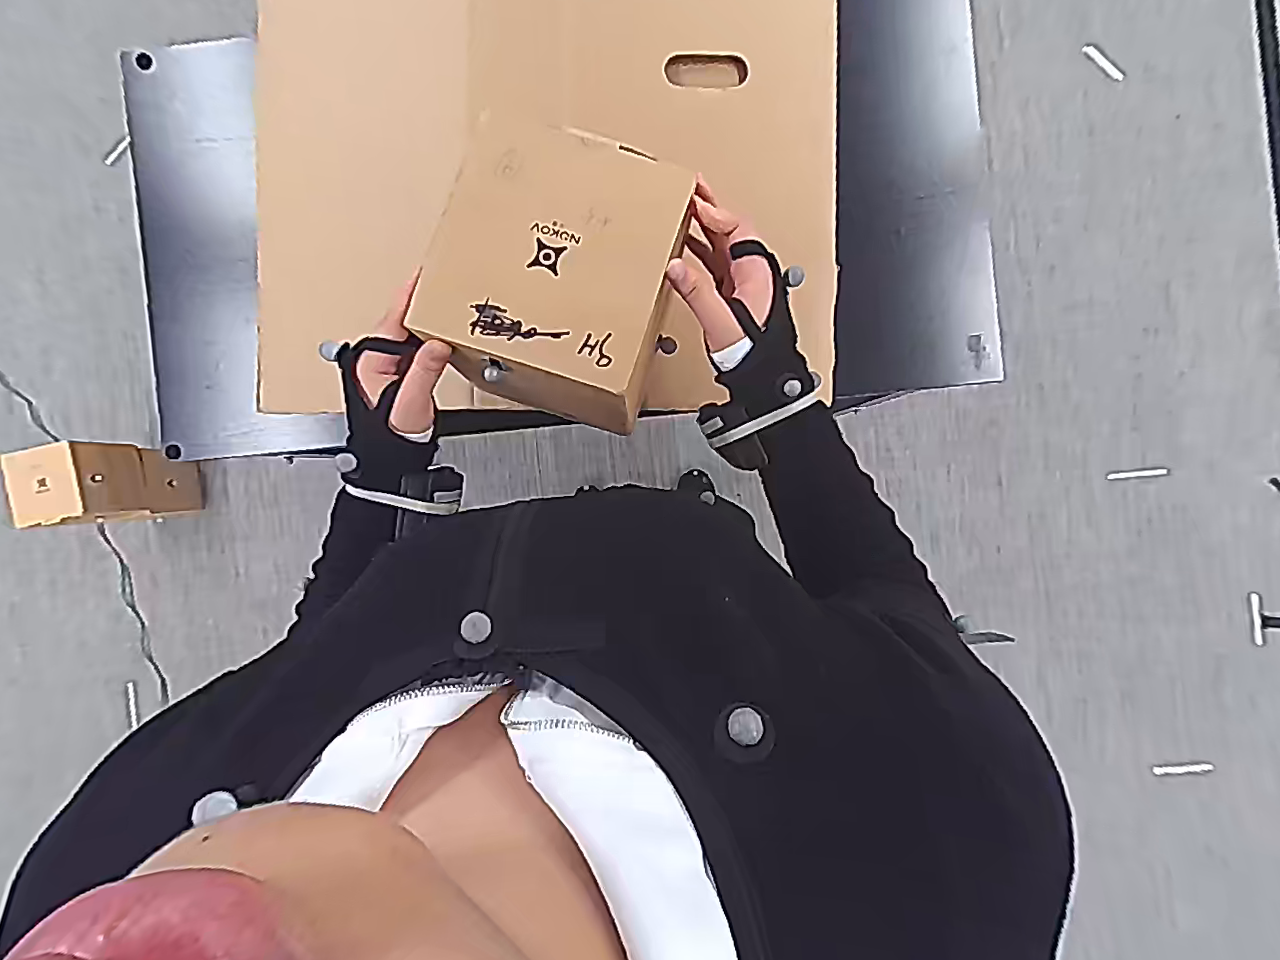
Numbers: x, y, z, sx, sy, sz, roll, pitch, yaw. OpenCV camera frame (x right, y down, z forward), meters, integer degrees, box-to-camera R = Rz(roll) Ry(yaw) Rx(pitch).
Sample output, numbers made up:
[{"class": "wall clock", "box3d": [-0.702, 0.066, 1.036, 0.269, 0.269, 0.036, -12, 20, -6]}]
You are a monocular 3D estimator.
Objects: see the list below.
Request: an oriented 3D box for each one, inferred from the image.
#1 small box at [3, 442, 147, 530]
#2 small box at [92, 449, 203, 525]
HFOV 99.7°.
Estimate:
[{"class": "small box", "box3d": [-1.350, 0.014, 1.305, 0.168, 0.176, 0.179, -13, 89, 1]}, {"class": "small box", "box3d": [-1.342, 0.019, 1.468, 0.168, 0.176, 0.179, -9, 90, 2]}]
